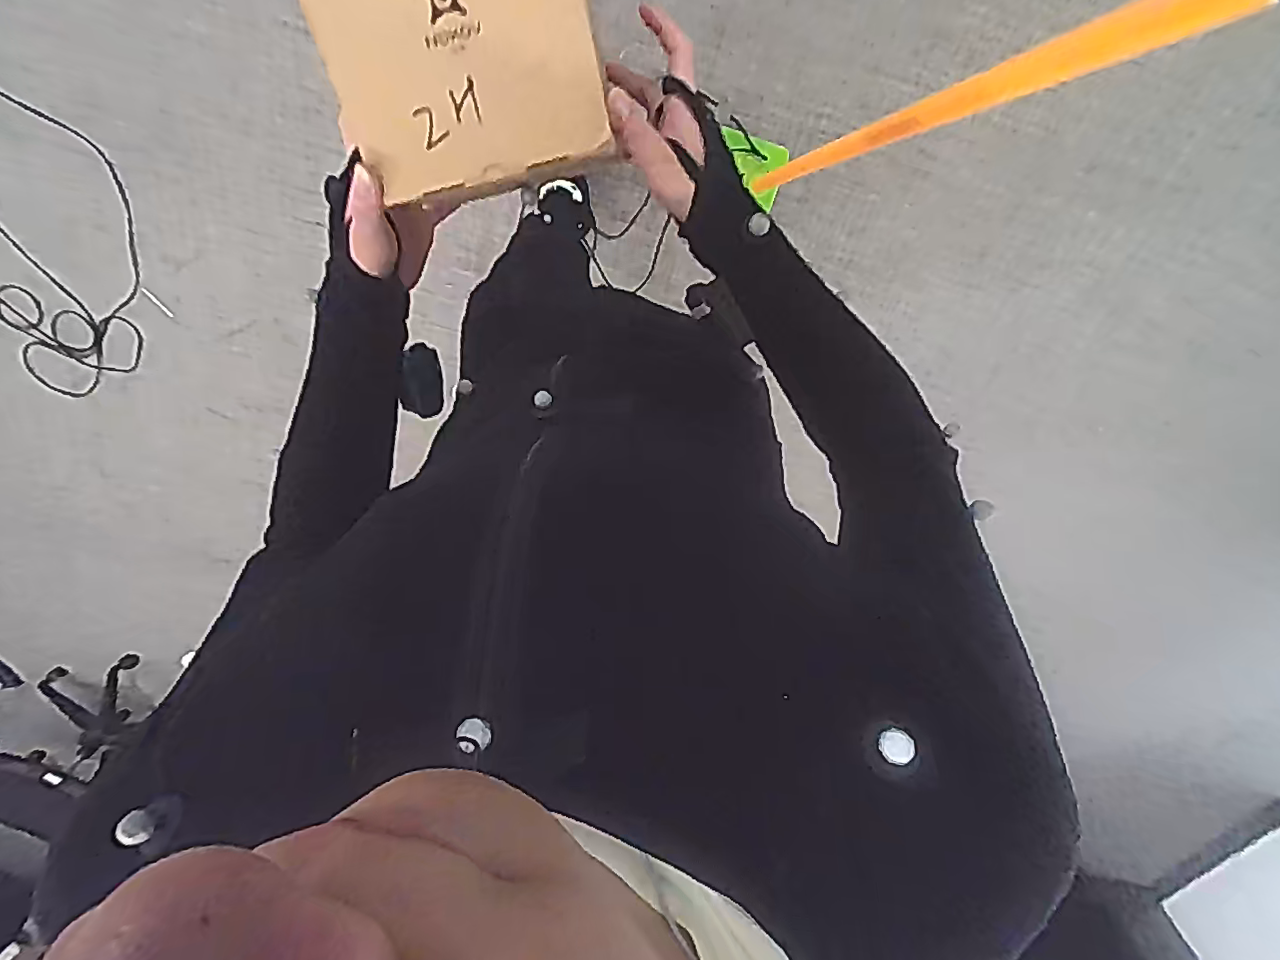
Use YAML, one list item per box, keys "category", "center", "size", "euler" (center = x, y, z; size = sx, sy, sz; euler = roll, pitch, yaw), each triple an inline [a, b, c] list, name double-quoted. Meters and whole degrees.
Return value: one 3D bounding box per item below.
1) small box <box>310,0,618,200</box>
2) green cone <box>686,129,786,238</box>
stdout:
- category: "small box"
  center: [-0.114, -0.317, 0.398]
  size: [0.168, 0.176, 0.179]
  euler: [-9, 117, 6]
- category: "green cone"
  center: [0.223, -0.635, 1.164]
  size: [0.202, 0.368, 0.200]
  euler: [15, 118, -5]
